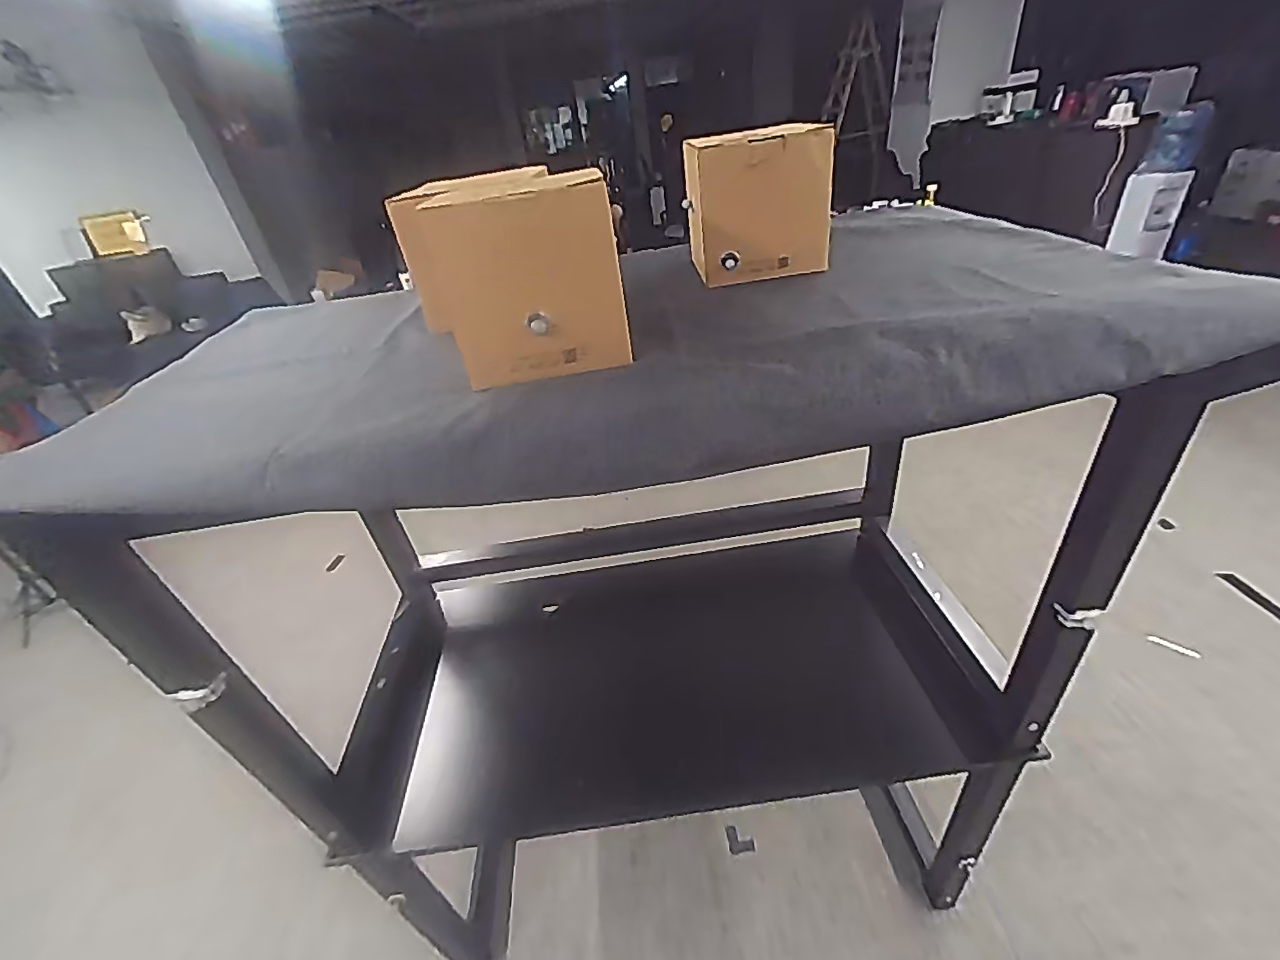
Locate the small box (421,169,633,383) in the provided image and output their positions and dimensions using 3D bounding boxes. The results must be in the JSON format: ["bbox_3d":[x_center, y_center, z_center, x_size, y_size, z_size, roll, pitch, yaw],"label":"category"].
[{"bbox_3d":[-0.103,-0.217,0.568,0.168,0.176,0.179,-9,34,-1],"label":"small box"}]

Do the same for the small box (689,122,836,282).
[{"bbox_3d":[0.163,-0.383,0.753,0.168,0.176,0.179,-7,34,3],"label":"small box"}]

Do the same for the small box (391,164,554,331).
[{"bbox_3d":[-0.198,-0.319,0.742,0.179,0.176,0.168,-6,35,5],"label":"small box"}]
